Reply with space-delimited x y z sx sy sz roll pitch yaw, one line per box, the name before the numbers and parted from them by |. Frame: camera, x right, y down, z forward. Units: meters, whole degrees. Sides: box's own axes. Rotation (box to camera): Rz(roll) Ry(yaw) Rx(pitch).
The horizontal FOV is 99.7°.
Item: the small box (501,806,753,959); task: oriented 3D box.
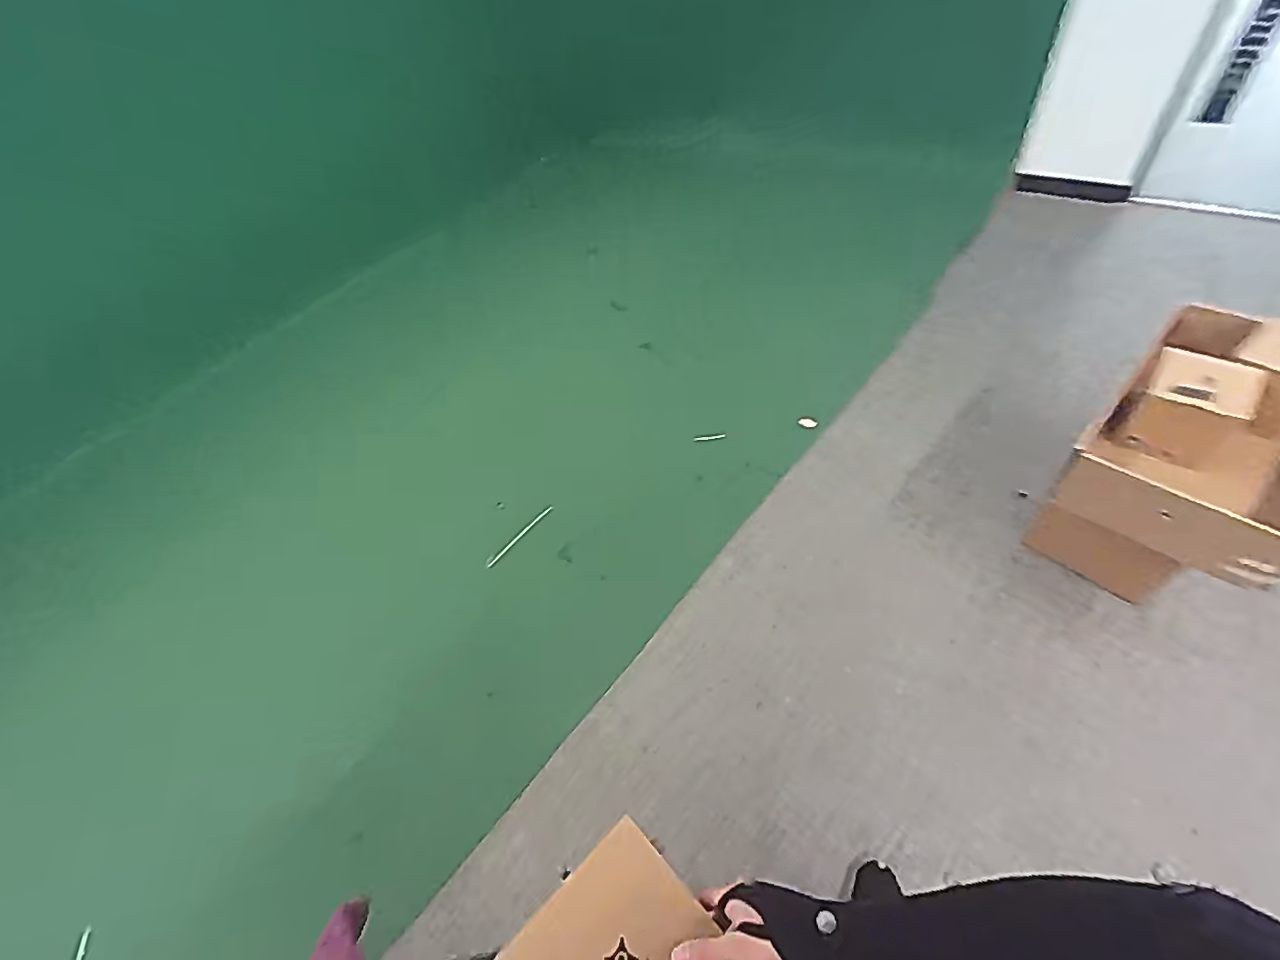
small box | -0.018 0.472 0.544 0.168 0.176 0.179 -35 66 -27
